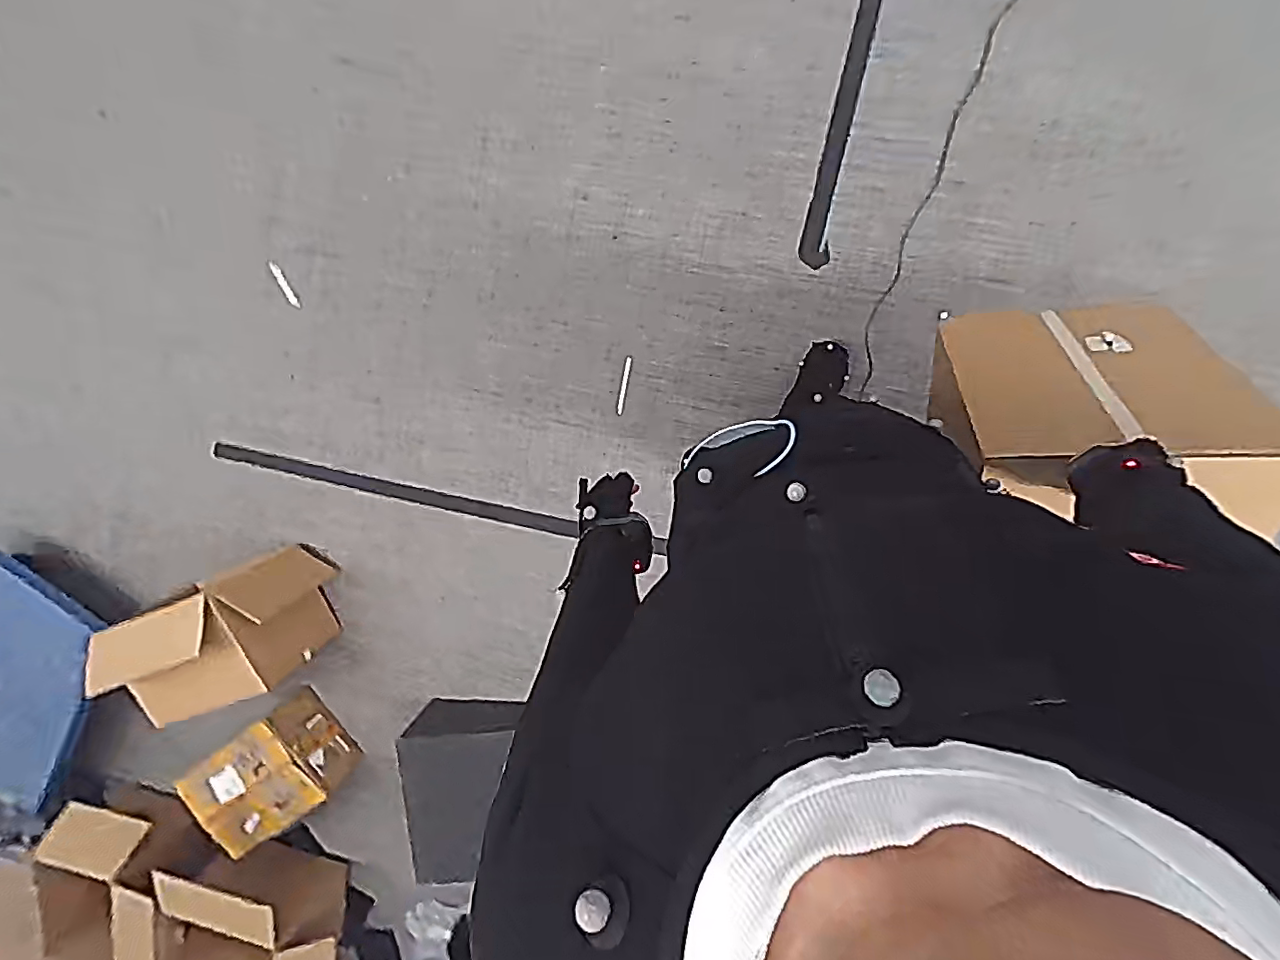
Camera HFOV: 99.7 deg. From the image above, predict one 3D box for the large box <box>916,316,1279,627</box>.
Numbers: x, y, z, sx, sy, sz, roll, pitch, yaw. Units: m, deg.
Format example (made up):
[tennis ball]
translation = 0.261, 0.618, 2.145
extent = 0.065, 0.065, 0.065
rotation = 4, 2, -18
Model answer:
[large box]
translation = 0.648, -0.025, 0.861
extent = 0.320, 0.408, 0.320
rotation = 1, 128, 17
